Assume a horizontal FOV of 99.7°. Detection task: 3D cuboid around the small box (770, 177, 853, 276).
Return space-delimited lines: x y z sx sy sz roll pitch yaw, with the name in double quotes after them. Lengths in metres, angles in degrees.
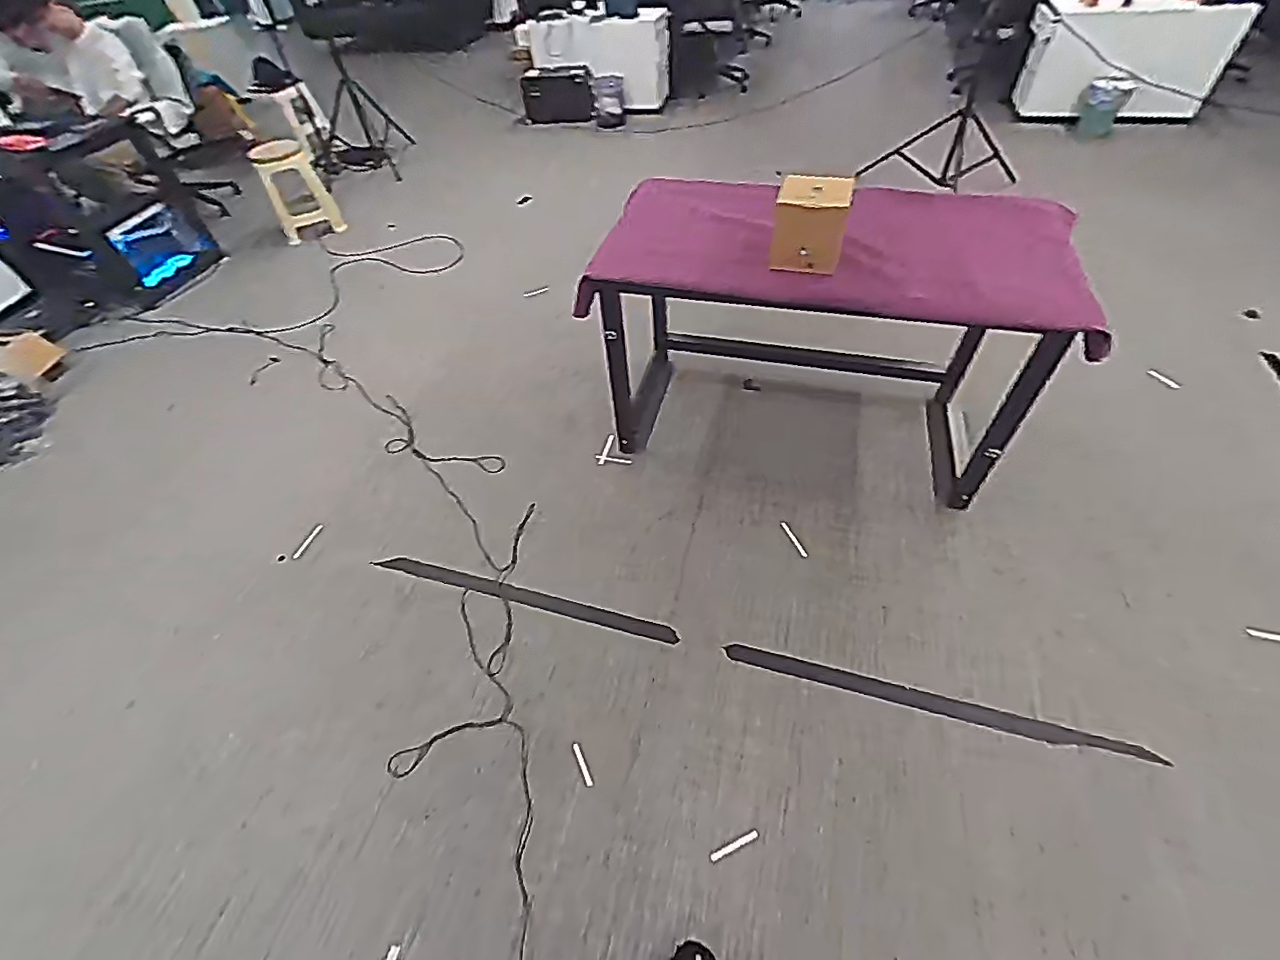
0.433 -0.645 1.376 0.168 0.176 0.179 12 51 15 "small box"
